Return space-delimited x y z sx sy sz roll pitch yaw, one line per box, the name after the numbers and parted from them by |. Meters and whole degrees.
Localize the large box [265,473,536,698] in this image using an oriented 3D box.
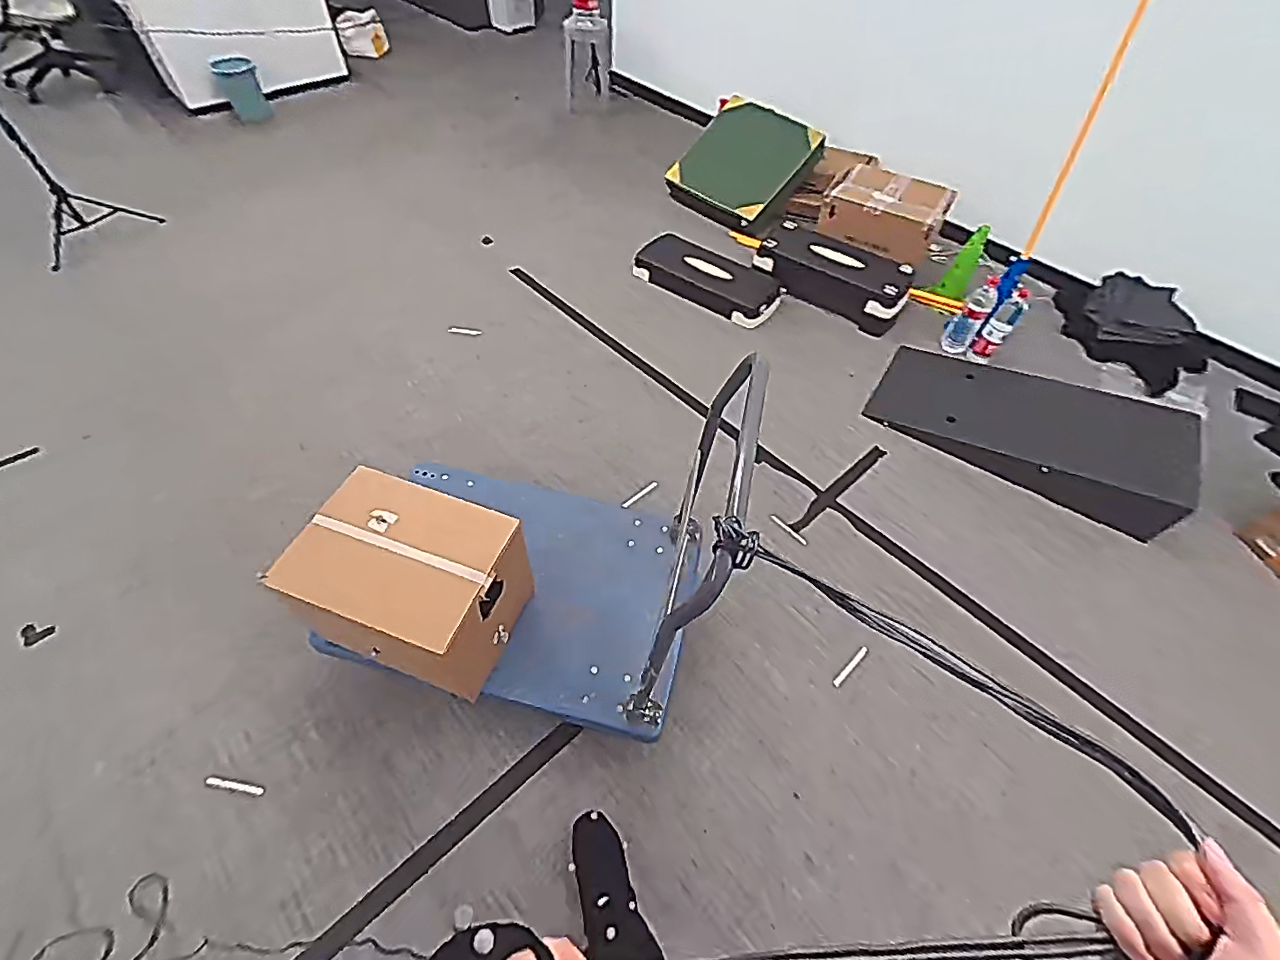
-0.490 0.239 1.208 0.408 0.320 0.320 17 53 10 | large box
